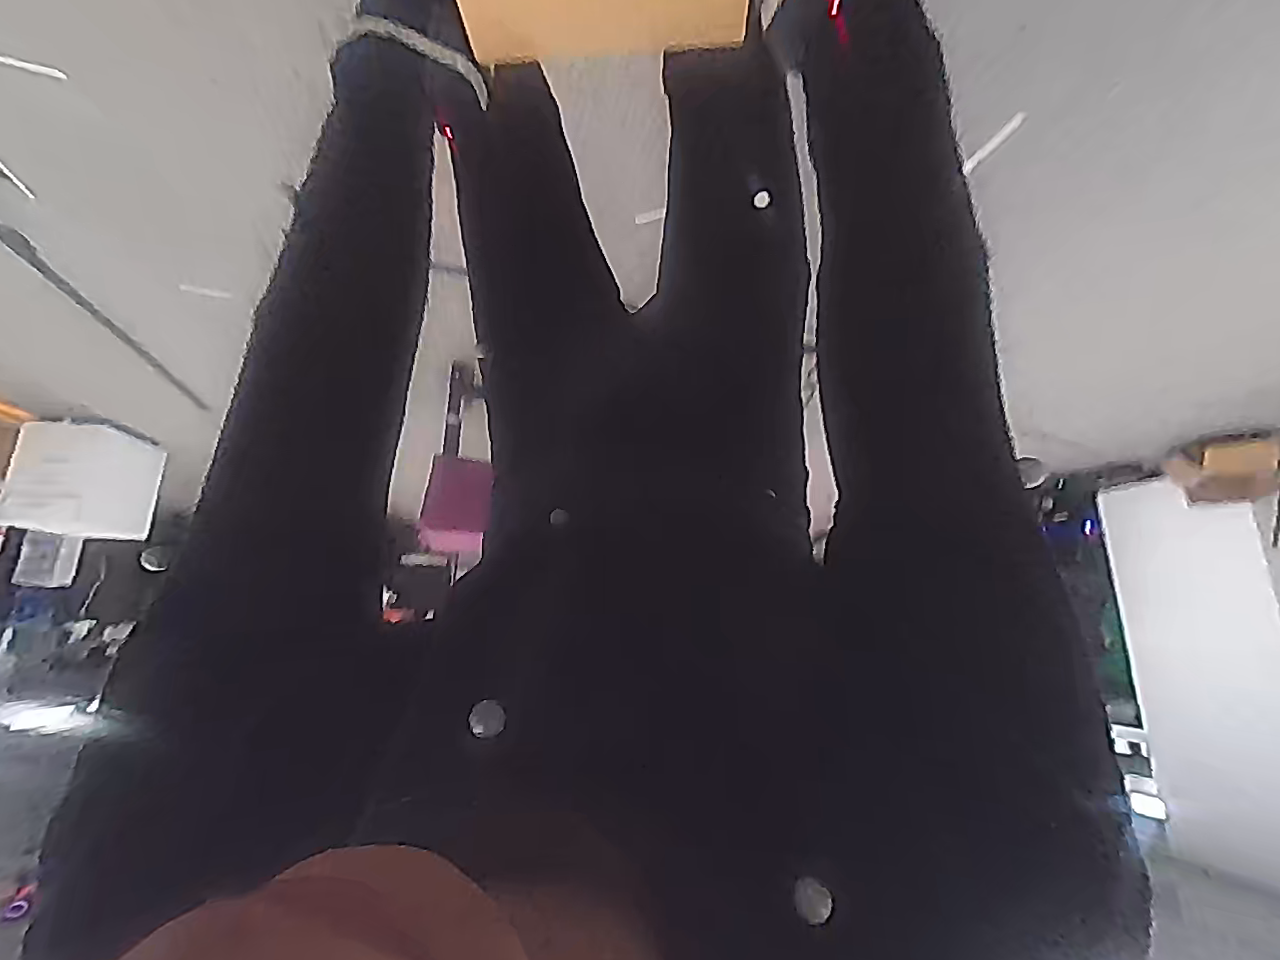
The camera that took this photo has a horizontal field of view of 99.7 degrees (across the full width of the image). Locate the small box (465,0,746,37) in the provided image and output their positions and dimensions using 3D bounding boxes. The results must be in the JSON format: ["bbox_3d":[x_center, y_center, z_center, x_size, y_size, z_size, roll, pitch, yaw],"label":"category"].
[{"bbox_3d":[-0.022,-0.372,0.267,0.168,0.176,0.179,-2,161,3],"label":"small box"}]
